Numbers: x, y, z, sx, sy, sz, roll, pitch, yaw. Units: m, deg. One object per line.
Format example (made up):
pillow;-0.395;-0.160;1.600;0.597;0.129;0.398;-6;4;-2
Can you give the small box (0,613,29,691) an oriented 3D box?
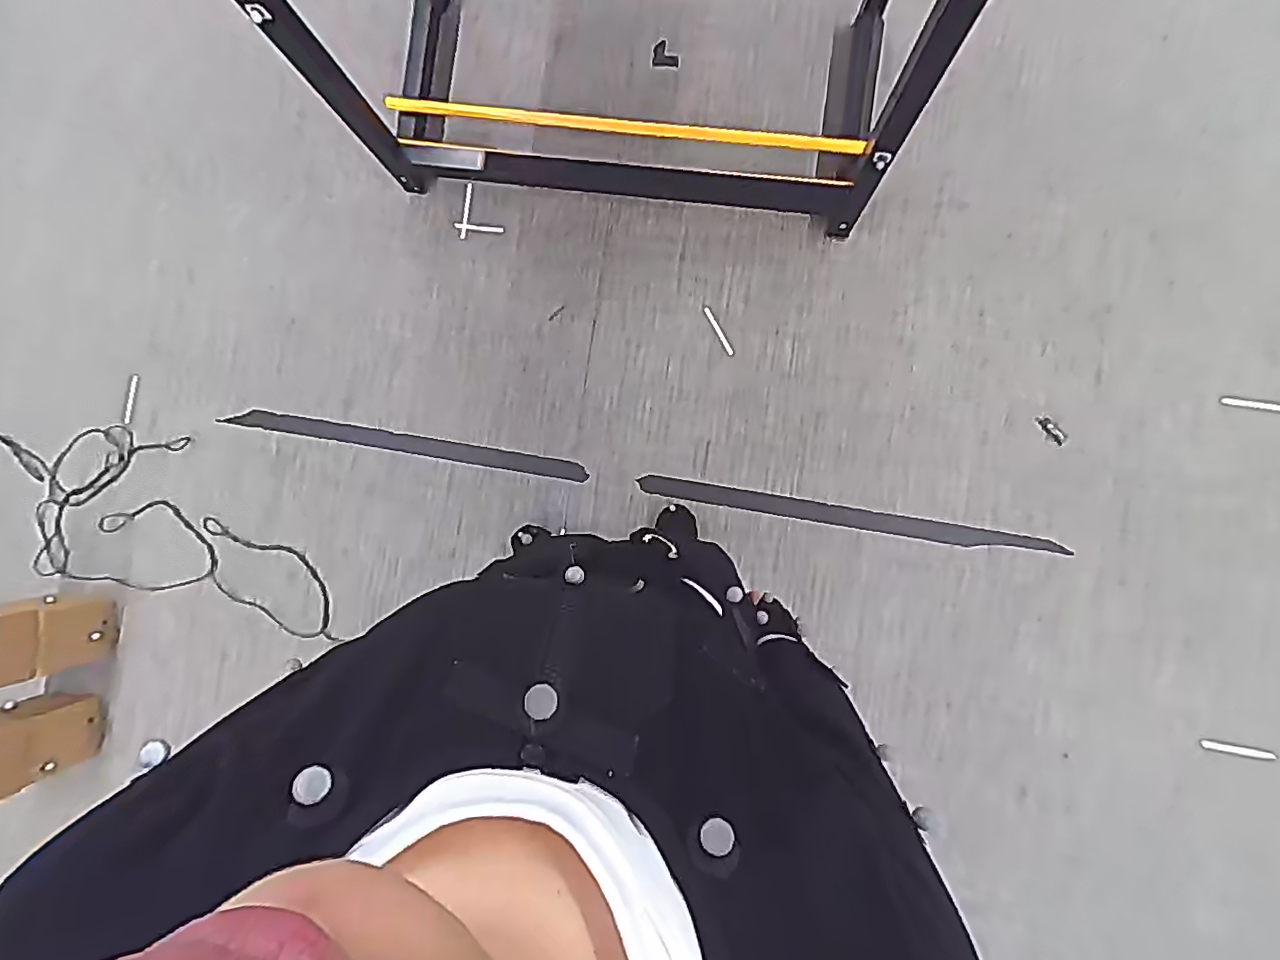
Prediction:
small box;-1.562;0.400;1.229;0.168;0.176;0.179;2;89;5

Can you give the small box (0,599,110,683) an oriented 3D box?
small box;-1.539;0.406;1.393;0.179;0.176;0.168;4;89;4

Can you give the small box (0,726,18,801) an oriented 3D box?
small box;-1.582;0.668;1.224;0.168;0.176;0.179;1;88;5
